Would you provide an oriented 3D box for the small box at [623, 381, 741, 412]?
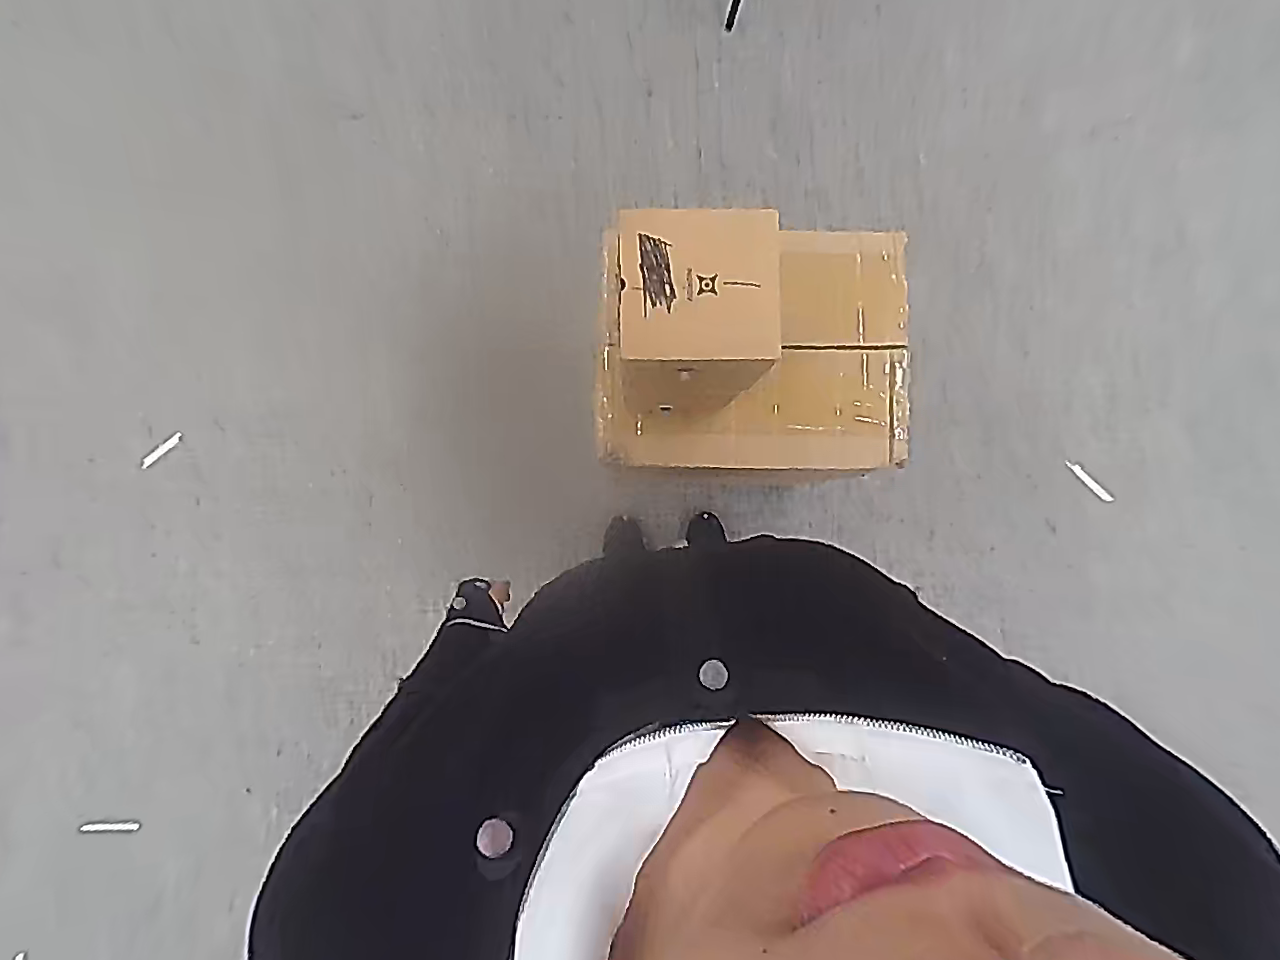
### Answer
[{"bbox_3d":[0.057,-0.204,0.826,0.168,0.176,0.179,0,89,0],"label":"small box"}]

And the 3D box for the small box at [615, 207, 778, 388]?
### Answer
[{"bbox_3d":[0.061,-0.209,0.661,0.179,0.176,0.168,0,88,-1],"label":"small box"}]
